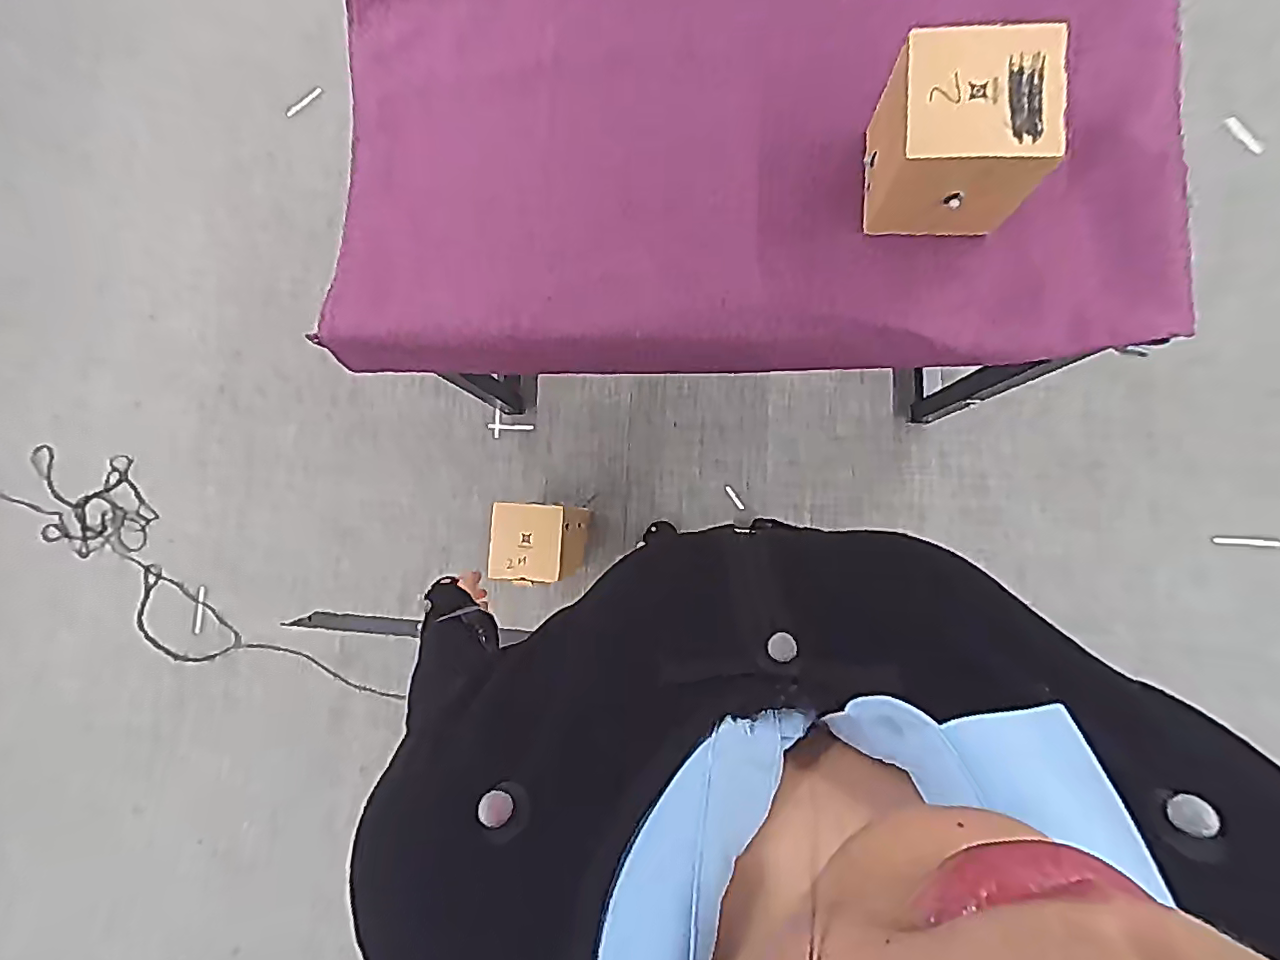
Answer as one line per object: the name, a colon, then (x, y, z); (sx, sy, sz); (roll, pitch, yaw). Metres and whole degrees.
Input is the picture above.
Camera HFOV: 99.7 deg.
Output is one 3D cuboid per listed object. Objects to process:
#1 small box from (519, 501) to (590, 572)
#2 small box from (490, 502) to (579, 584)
small box: (-0.237, 0.156, 1.458); (0.168, 0.176, 0.179); (9, 86, 6)
small box: (-0.244, 0.147, 1.293); (0.168, 0.176, 0.179); (3, 86, 6)
